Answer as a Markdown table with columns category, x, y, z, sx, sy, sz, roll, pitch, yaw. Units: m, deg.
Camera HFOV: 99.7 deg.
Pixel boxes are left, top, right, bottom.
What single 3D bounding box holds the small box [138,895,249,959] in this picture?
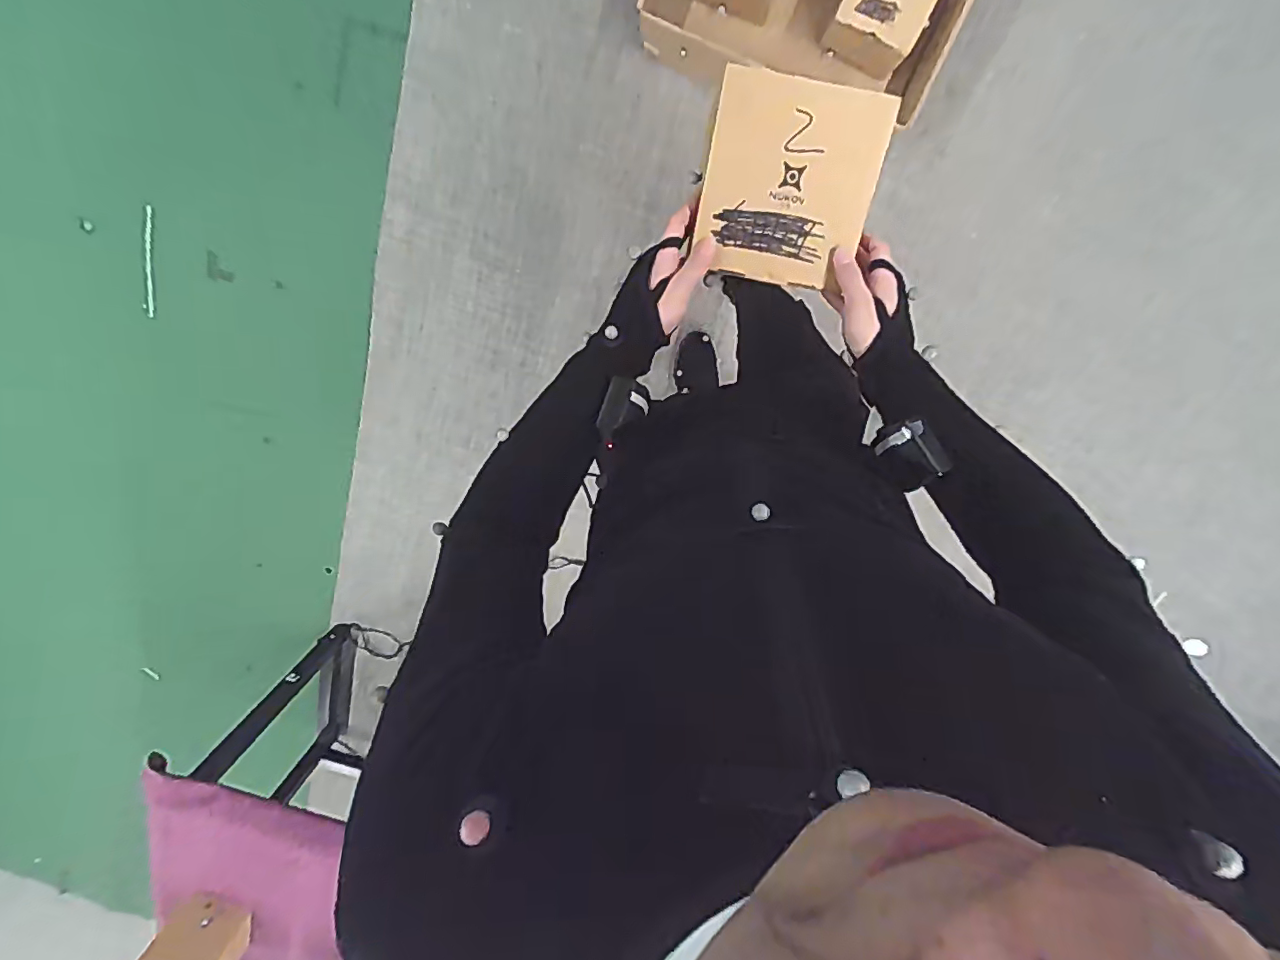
| category | x | y | z | sx | sy | sz | roll | pitch | yaw |
| --- | --- | --- | --- | --- | --- | --- | --- | --- | --- |
| small box | -1.135 | 1.211 | 1.374 | 0.168 | 0.176 | 0.179 | 19 | 112 | -4 |
